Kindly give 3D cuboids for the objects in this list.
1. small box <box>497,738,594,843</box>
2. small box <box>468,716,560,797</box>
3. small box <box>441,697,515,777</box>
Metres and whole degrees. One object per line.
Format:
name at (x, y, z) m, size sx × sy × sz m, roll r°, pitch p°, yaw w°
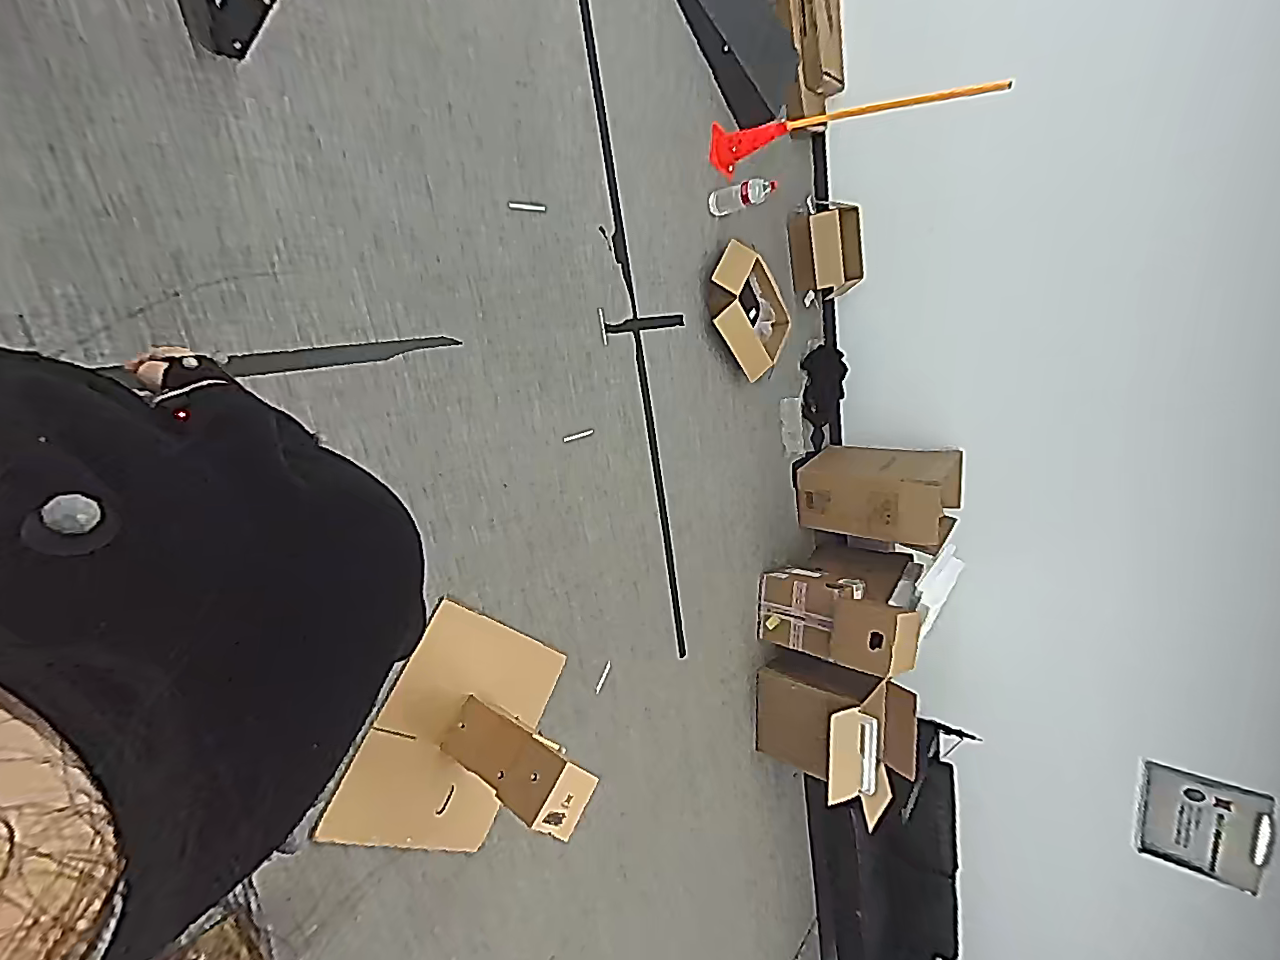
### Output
small box at (-0.268, 0.855, 1.497) m, size 0.179 × 0.176 × 0.168 m, roll -58°, pitch 133°, yaw -26°
small box at (-0.379, 0.838, 1.619) m, size 0.168 × 0.176 × 0.179 m, roll 51°, pitch 60°, yaw -40°
small box at (-0.503, 0.827, 1.724) m, size 0.168 × 0.176 × 0.179 m, roll 49°, pitch 61°, yaw -40°
